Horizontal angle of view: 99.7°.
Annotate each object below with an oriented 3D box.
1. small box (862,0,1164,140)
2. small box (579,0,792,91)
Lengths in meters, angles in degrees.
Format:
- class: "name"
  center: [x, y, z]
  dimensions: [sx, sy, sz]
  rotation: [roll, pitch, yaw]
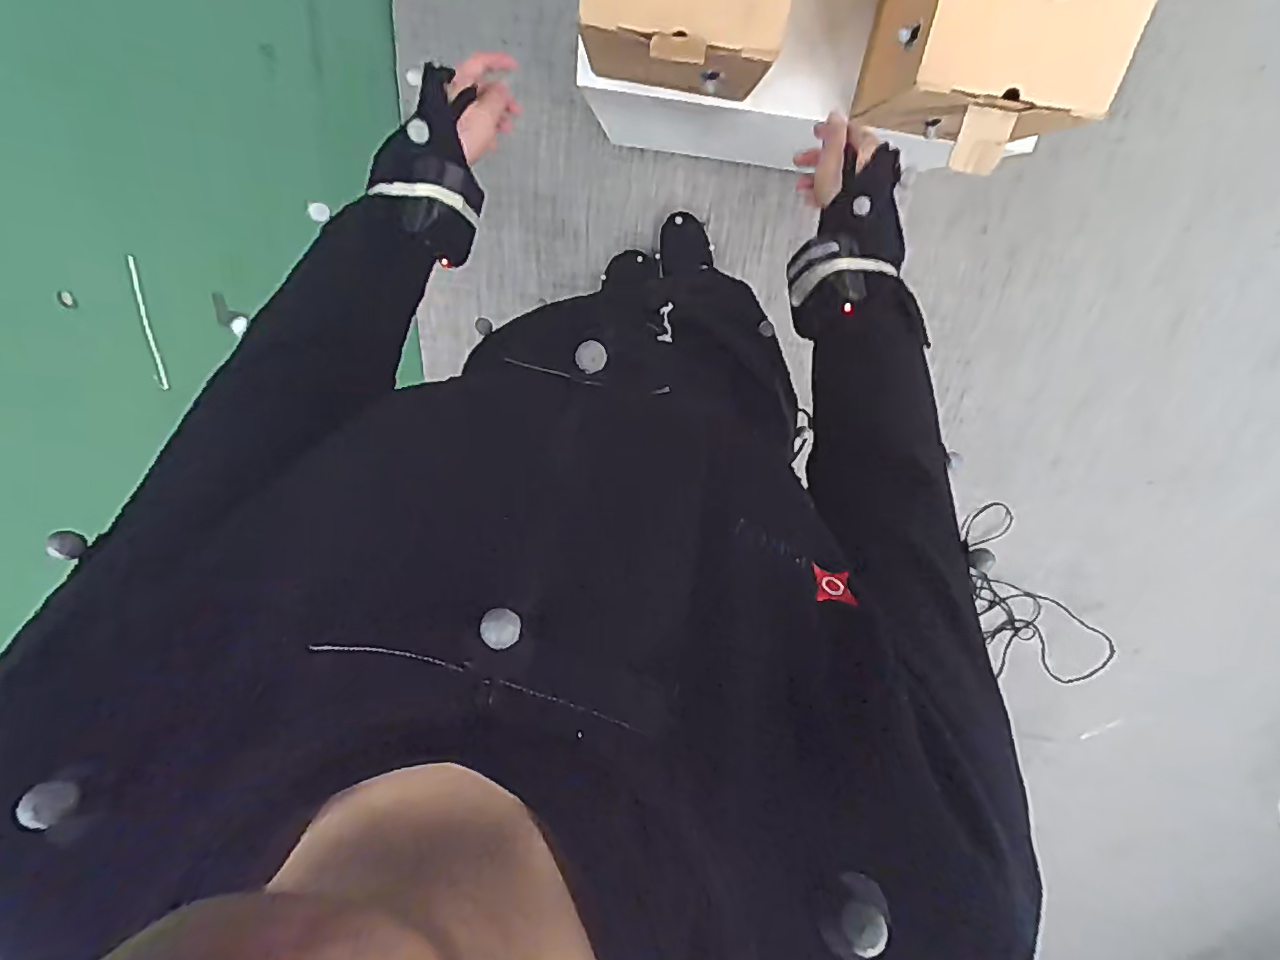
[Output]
- class: "small box"
  center: [0.319, -0.421, 0.473]
  dimensions: [0.168, 0.176, 0.179]
  rotation: [8, 116, -2]
- class: "small box"
  center: [0.046, -0.460, 0.461]
  dimensions: [0.168, 0.176, 0.179]
  rotation: [7, 115, -4]
